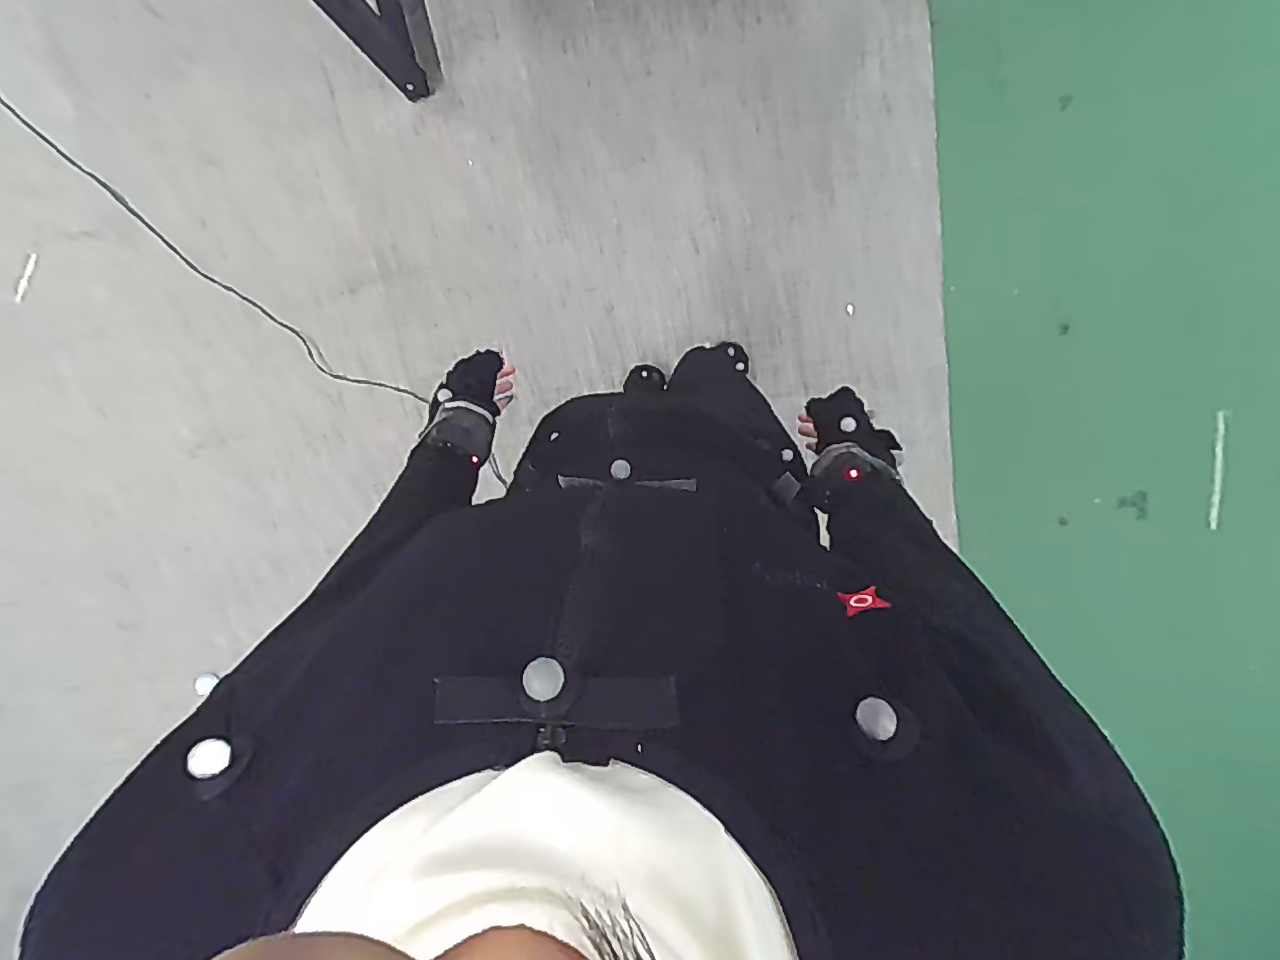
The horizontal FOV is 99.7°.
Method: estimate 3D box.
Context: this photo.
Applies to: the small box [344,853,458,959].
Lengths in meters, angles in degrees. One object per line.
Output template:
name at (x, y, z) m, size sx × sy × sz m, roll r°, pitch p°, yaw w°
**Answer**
small box at (-0.567, 1.051, 1.304) m, size 0.179 × 0.176 × 0.168 m, roll 24°, pitch 103°, yaw -3°
